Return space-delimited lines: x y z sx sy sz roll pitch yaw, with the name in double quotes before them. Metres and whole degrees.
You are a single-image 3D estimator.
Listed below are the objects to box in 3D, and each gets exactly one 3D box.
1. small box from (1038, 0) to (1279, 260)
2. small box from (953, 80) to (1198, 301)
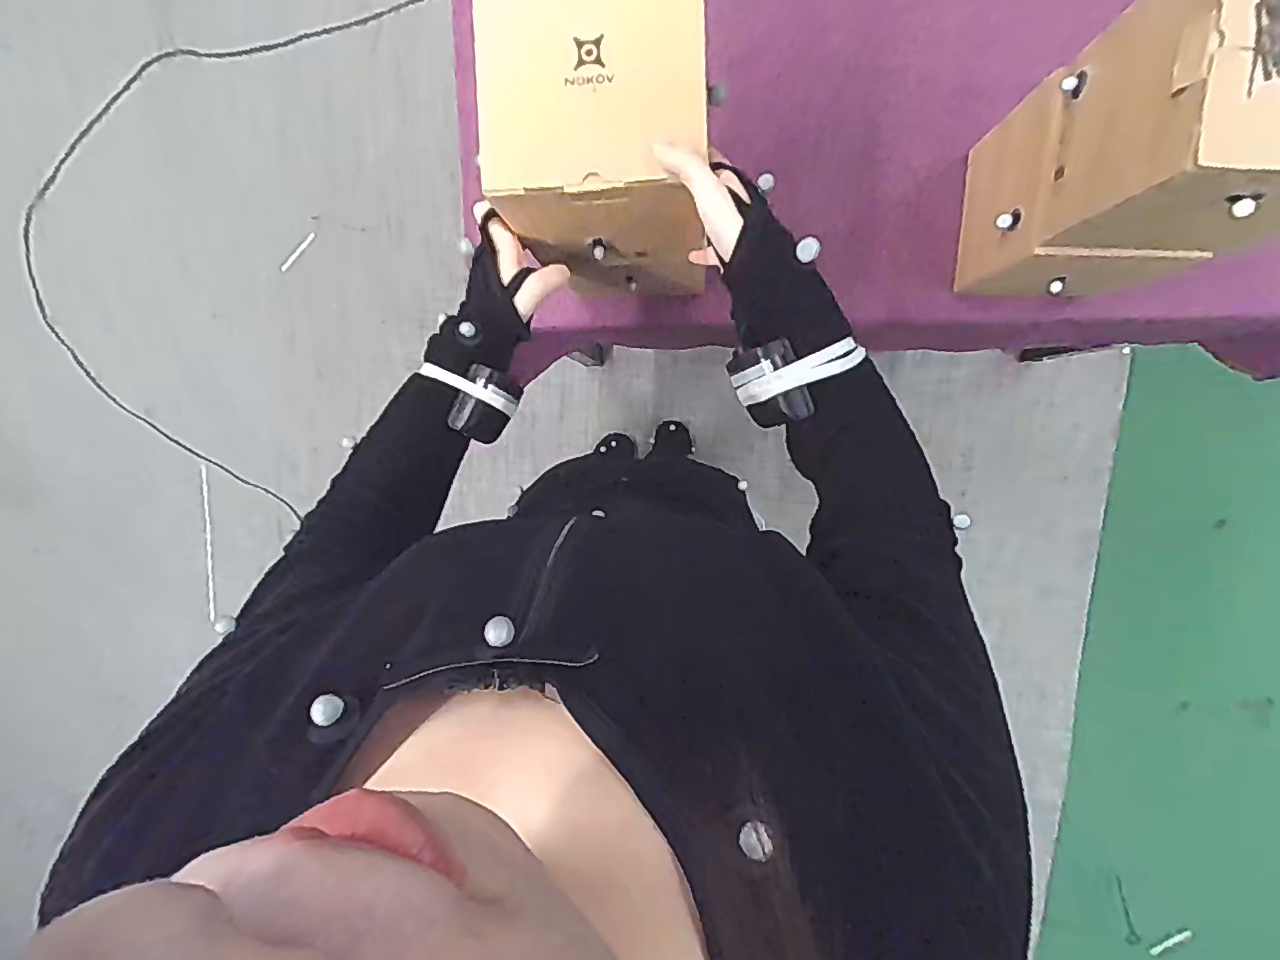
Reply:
"small box" 0.476 -0.291 0.446 0.179 0.176 0.168 4 97 4
"small box" 0.481 -0.307 0.610 0.168 0.176 0.179 4 96 4
